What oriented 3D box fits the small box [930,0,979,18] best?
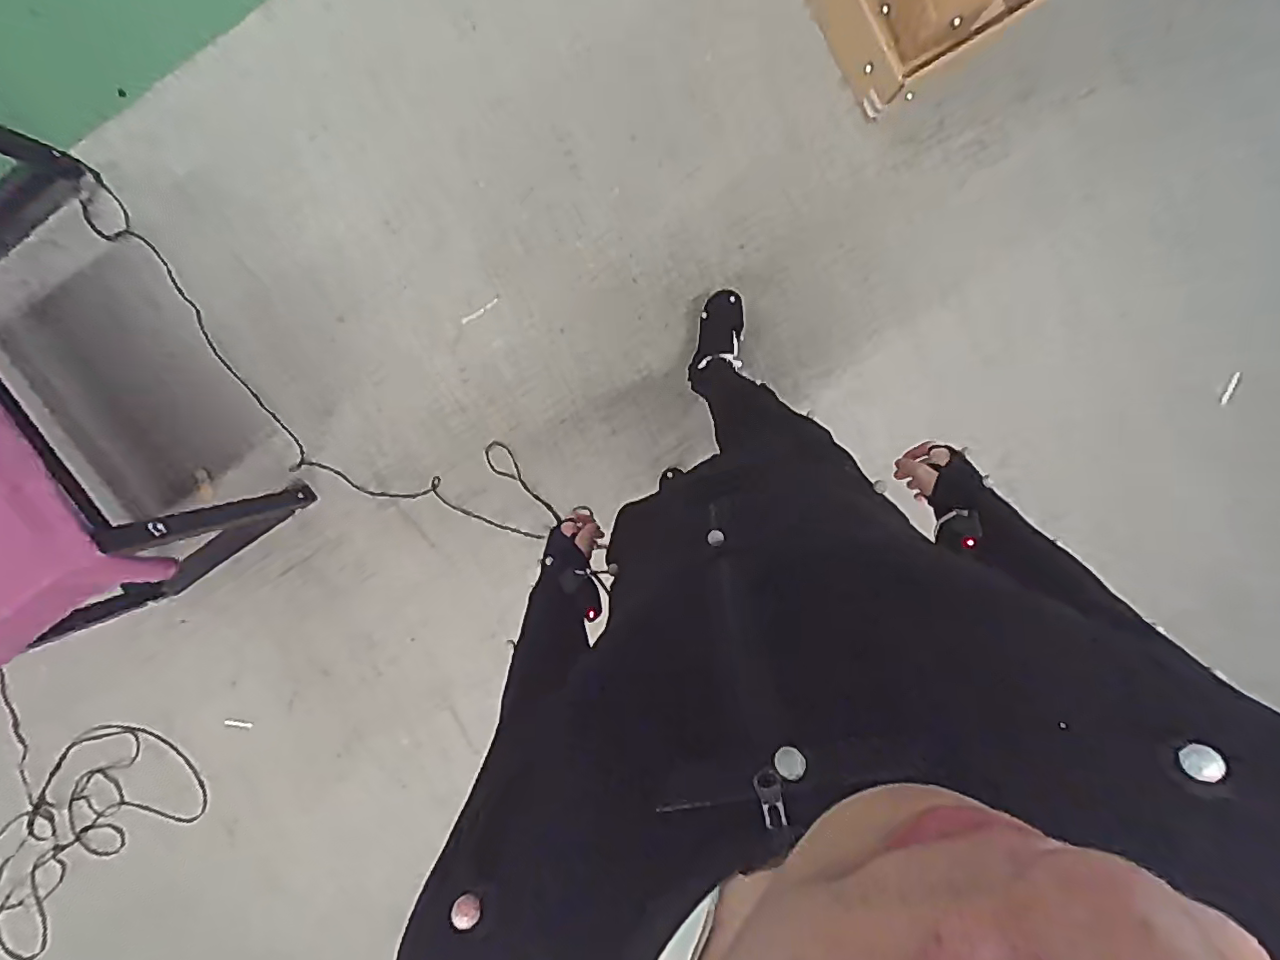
[{"bbox_3d":[0.719,-1.140,1.133,0.179,0.176,0.168,-25,97,6],"label":"small box"}]
